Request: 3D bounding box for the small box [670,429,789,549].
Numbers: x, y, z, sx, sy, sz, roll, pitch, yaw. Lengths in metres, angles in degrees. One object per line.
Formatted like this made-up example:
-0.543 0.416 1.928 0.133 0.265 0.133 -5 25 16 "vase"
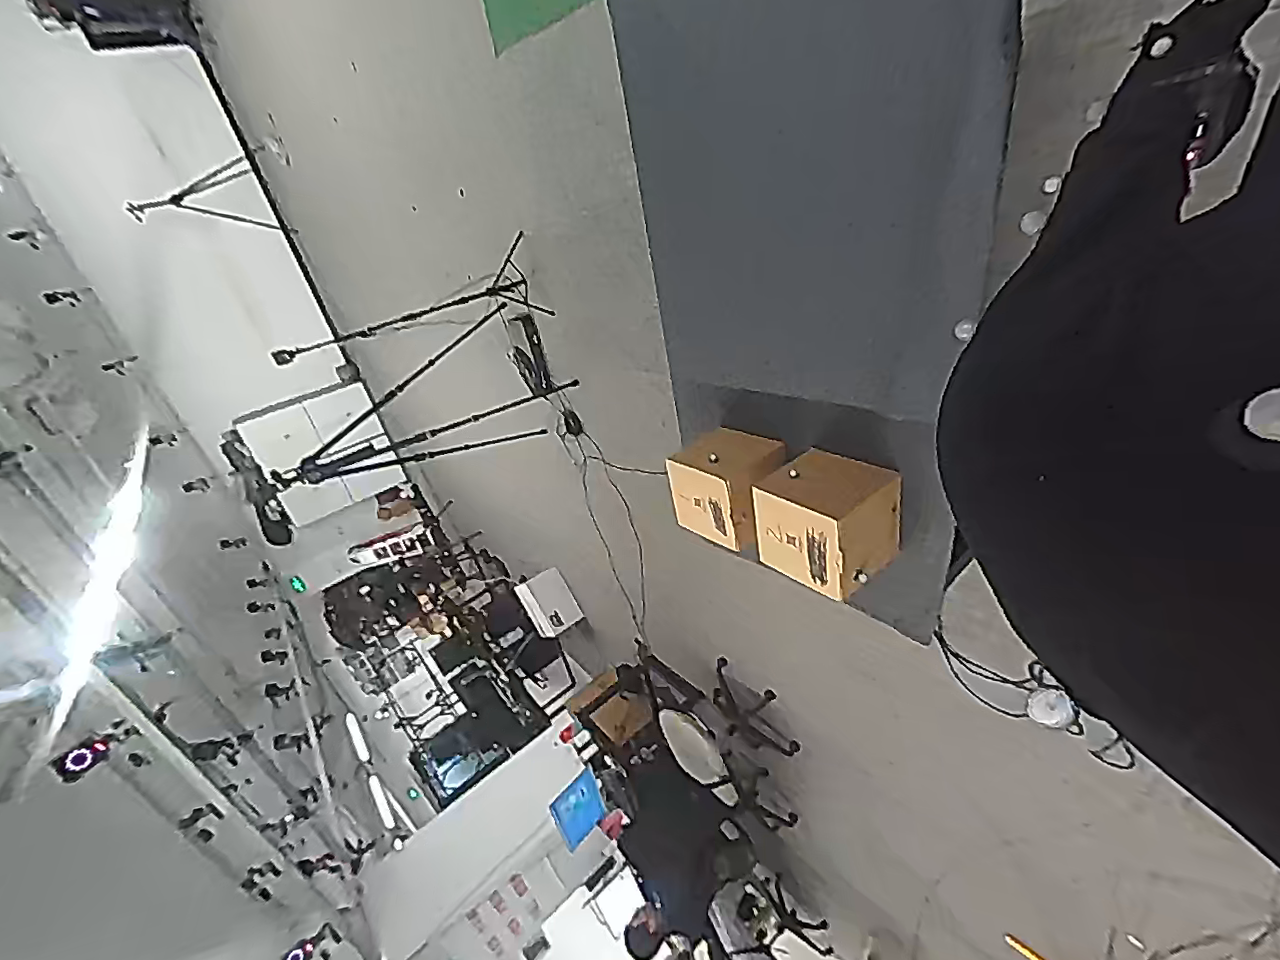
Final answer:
0.192 0.009 1.115 0.179 0.176 0.168 23 134 49 "small box"
